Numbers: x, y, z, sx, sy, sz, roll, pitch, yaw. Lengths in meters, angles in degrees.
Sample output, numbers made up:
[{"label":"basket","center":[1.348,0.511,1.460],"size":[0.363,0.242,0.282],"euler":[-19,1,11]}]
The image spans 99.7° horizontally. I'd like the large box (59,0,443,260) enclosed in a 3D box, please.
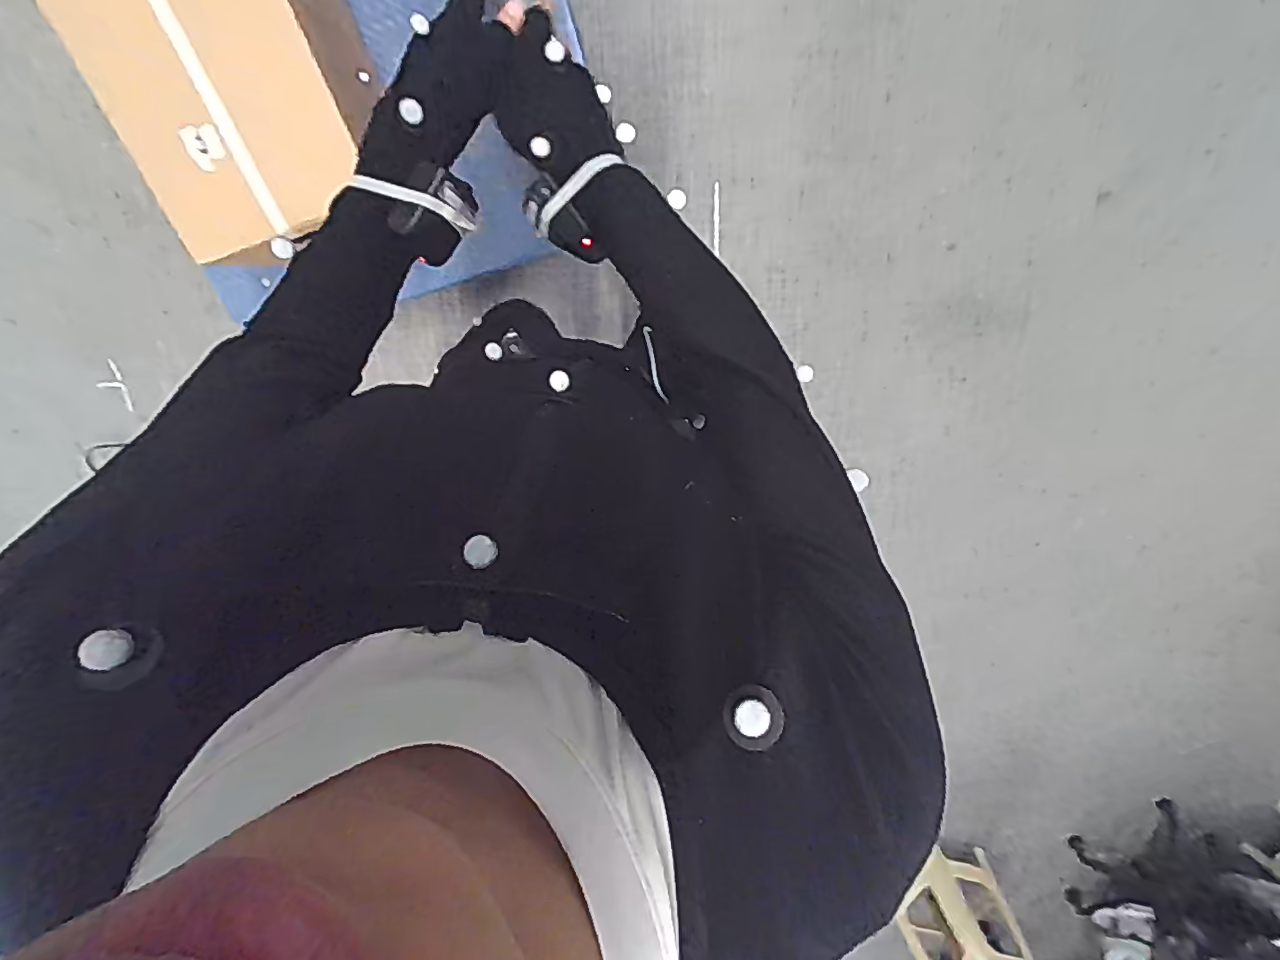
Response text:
[{"label":"large box","center":[-0.595,-0.625,0.905],"size":[0.320,0.320,0.408],"euler":[-18,113,5]}]
